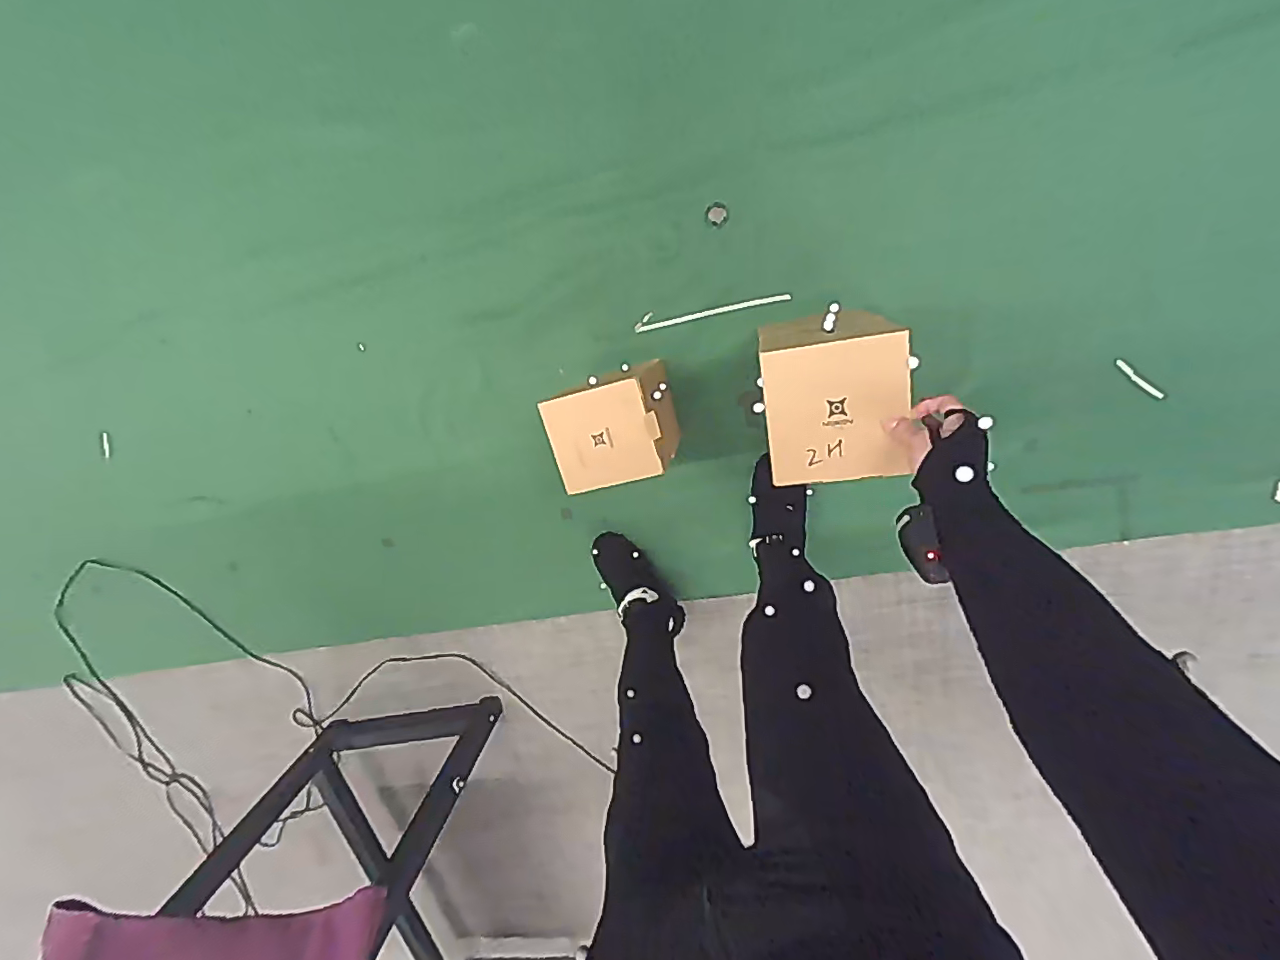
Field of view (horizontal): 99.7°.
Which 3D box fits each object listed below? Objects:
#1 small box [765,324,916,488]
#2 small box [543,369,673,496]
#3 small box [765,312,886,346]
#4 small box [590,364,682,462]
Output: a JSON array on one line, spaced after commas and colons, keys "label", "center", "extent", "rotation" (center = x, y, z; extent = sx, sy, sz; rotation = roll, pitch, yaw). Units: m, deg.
[{"label": "small box", "center": [0.256, -0.105, 0.716], "extent": [0.168, 0.176, 0.179], "rotation": [-5, 110, 16]}, {"label": "small box", "center": [-0.045, -0.090, 0.955], "extent": [0.179, 0.176, 0.168], "rotation": [-12, 105, 14]}, {"label": "small box", "center": [0.294, -0.161, 0.868], "extent": [0.168, 0.176, 0.179], "rotation": [-8, 109, 14]}, {"label": "small box", "center": [-0.016, -0.128, 1.111], "extent": [0.168, 0.176, 0.179], "rotation": [-12, 106, 14]}]
